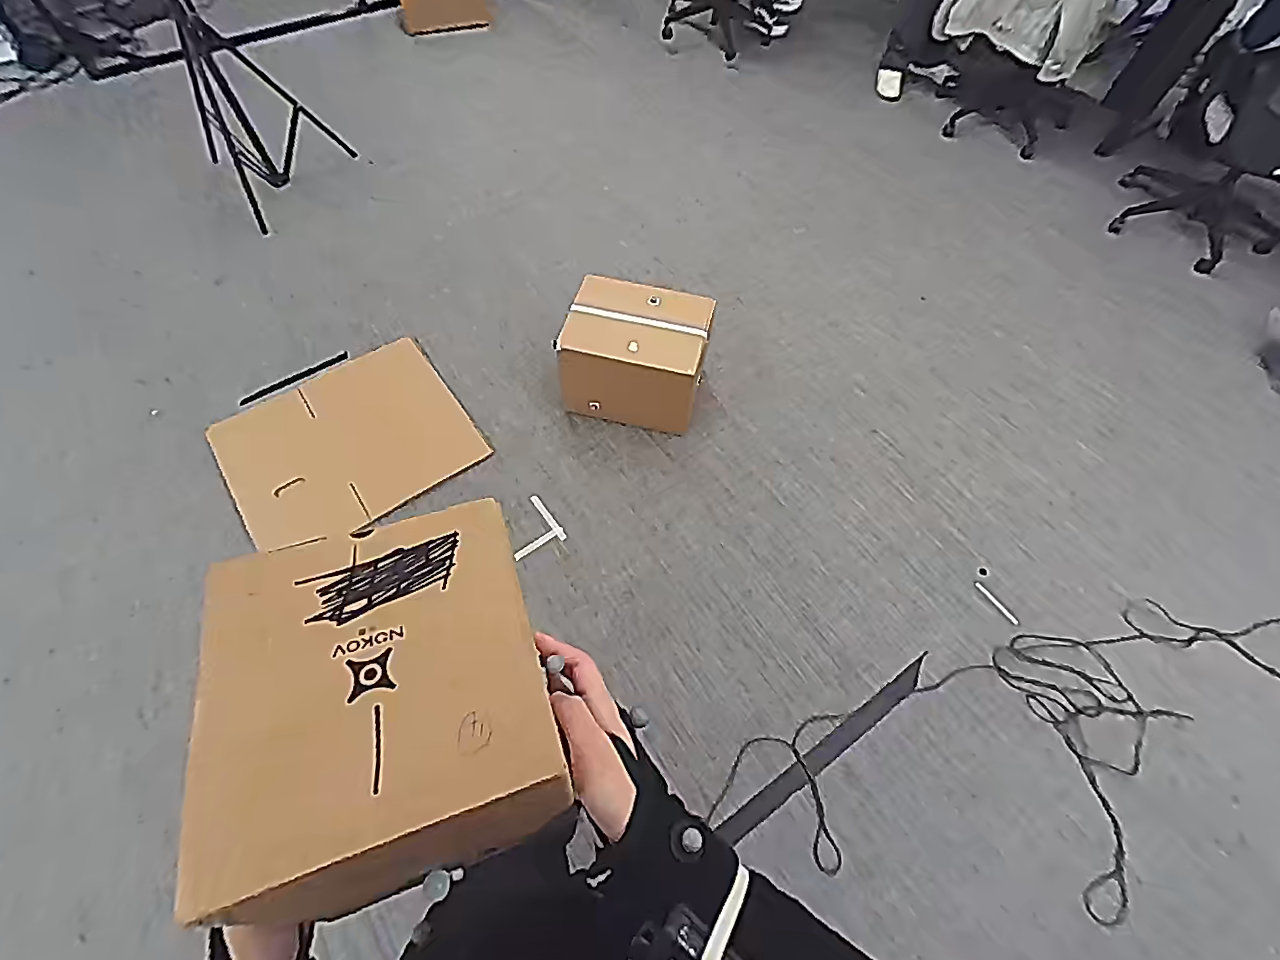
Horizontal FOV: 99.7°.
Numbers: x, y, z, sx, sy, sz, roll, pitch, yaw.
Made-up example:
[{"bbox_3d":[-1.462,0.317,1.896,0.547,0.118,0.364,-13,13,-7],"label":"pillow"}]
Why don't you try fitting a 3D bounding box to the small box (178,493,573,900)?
[{"bbox_3d":[-0.146,0.140,0.352,0.168,0.176,0.179,-15,55,-14],"label":"small box"}]
